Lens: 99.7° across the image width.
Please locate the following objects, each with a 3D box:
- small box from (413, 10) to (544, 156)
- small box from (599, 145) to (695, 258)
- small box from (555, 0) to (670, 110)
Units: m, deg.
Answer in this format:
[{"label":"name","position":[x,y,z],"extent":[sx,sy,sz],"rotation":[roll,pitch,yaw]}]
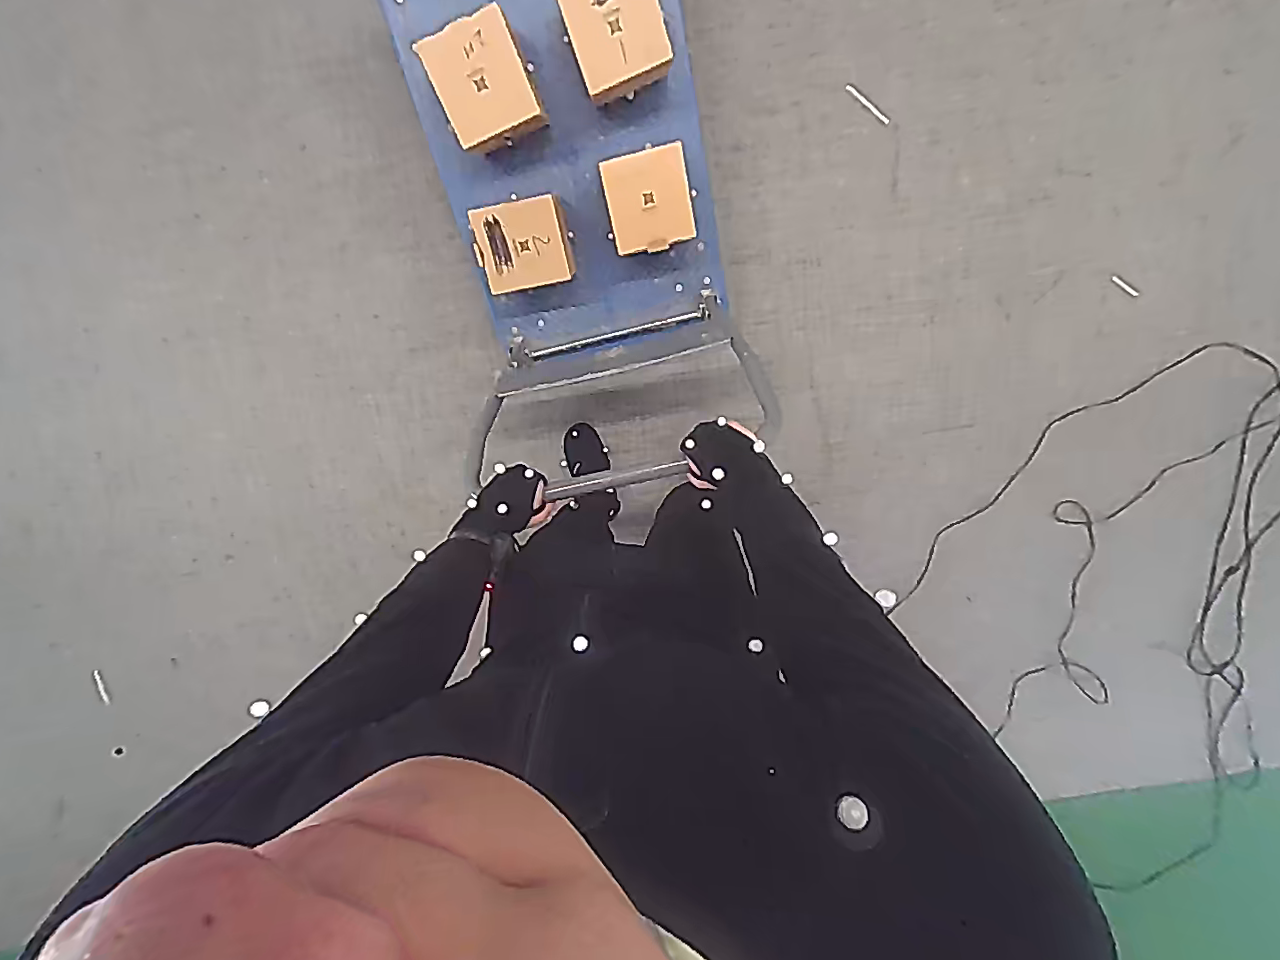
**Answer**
[{"label":"small box","position":[-0.299,-0.753,1.051],"extent":[0.168,0.176,0.179],"rotation":[-20,117,7]},{"label":"small box","position":[0.012,-0.588,1.150],"extent":[0.168,0.176,0.179],"rotation":[-13,118,5]},{"label":"small box","position":[-0.053,-0.834,1.019],"extent":[0.168,0.176,0.179],"rotation":[-19,117,8]}]
